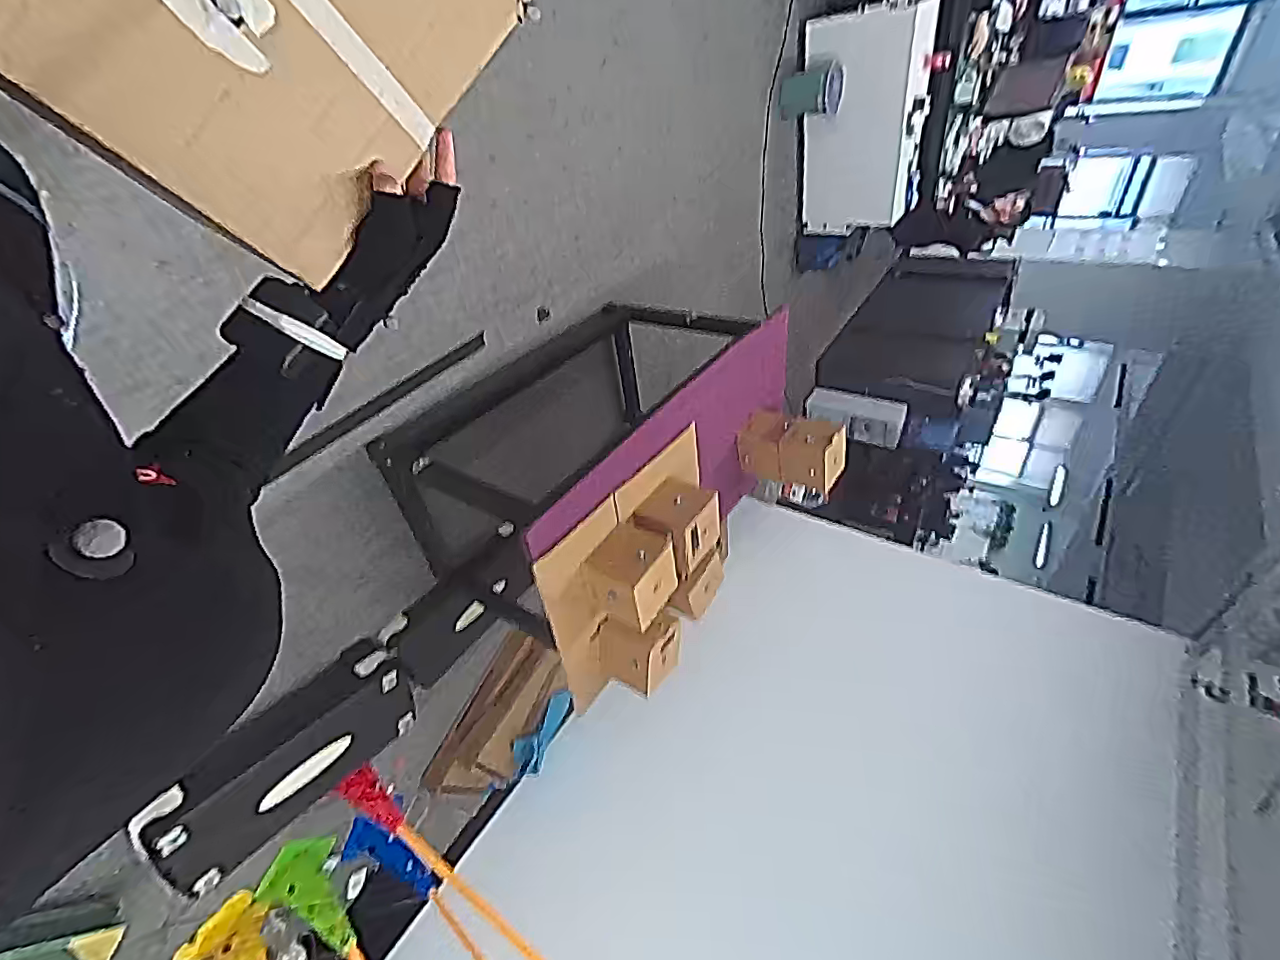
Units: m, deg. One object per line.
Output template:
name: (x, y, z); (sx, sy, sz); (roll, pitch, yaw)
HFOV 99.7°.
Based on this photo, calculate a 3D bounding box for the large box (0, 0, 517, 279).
large box: (-0.380, -0.421, 0.376); (0.320, 0.320, 0.408); (-56, 147, -4)
